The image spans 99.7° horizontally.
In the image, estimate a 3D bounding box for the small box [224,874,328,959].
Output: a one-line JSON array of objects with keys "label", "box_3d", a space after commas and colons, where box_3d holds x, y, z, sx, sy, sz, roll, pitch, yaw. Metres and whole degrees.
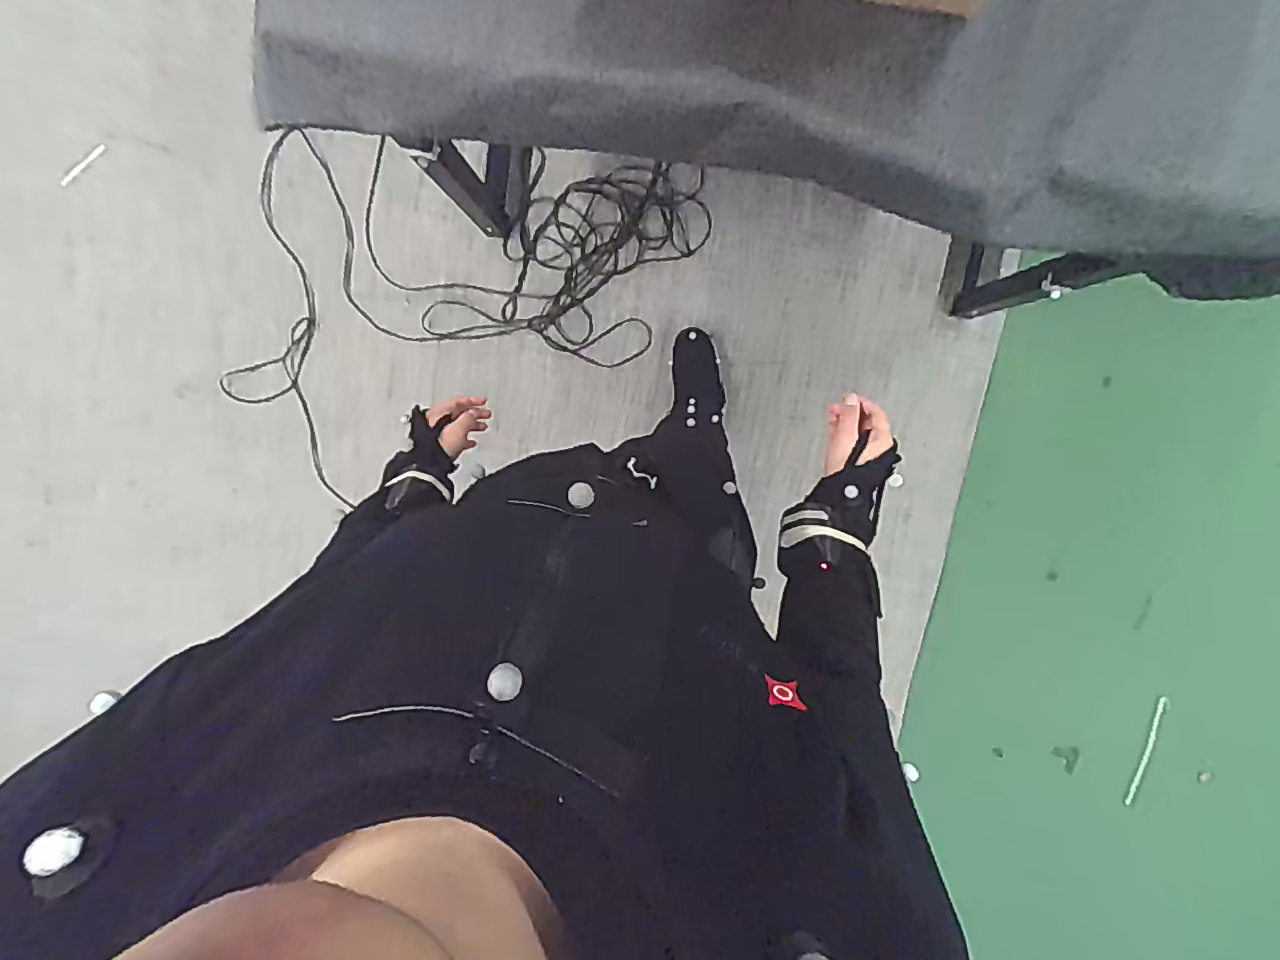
[{"label": "small box", "box_3d": [-0.968, 1.207, 1.447, 0.168, 0.176, 0.179, 14, 99, 0]}]
